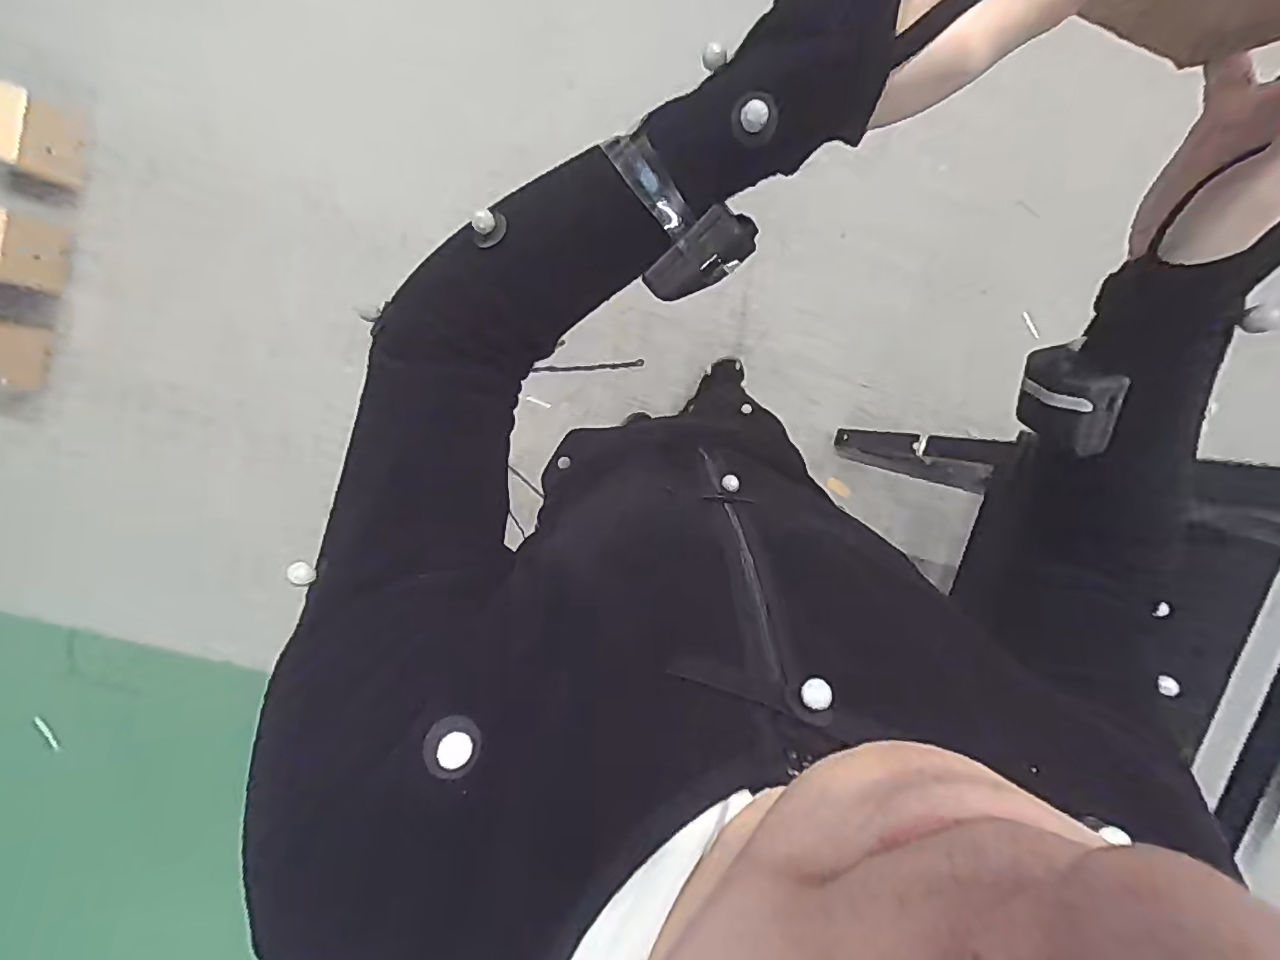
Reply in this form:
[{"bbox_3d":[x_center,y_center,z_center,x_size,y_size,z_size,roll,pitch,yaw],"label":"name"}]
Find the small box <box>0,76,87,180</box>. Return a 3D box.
[{"bbox_3d":[-1.483,-0.843,1.281,0.179,0.176,0.168,17,96,-7],"label":"small box"}]
